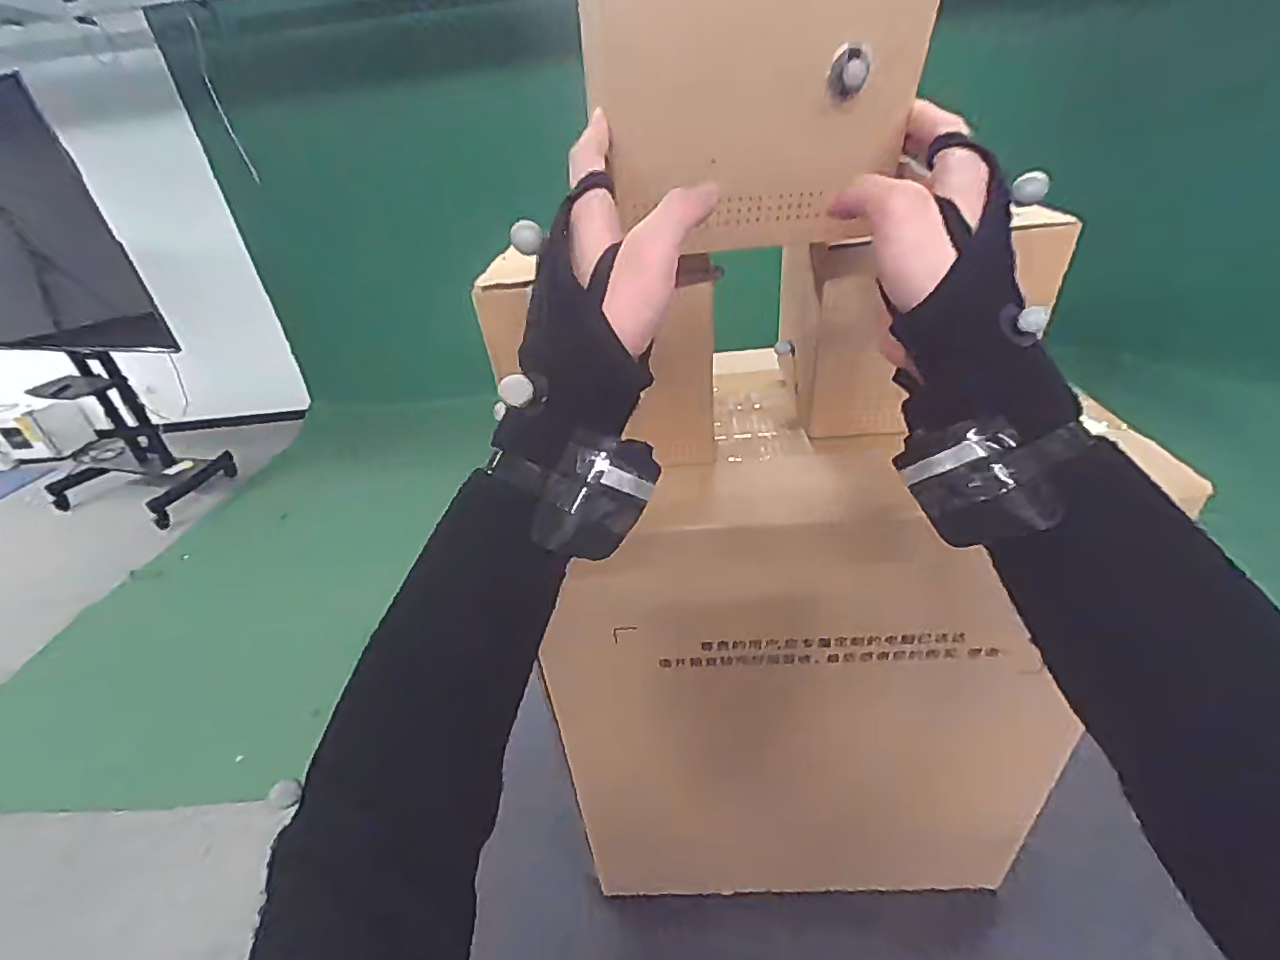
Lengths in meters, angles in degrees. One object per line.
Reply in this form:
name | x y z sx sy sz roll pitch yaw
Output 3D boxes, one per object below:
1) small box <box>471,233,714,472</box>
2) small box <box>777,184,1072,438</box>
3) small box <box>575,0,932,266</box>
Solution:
small box | -0.027 -0.120 0.497 0.179 0.176 0.168 -4 37 5
small box | 0.228 -0.153 0.494 0.179 0.176 0.168 -4 37 6
small box | 0.054 -0.254 0.344 0.179 0.176 0.168 -8 43 -4
